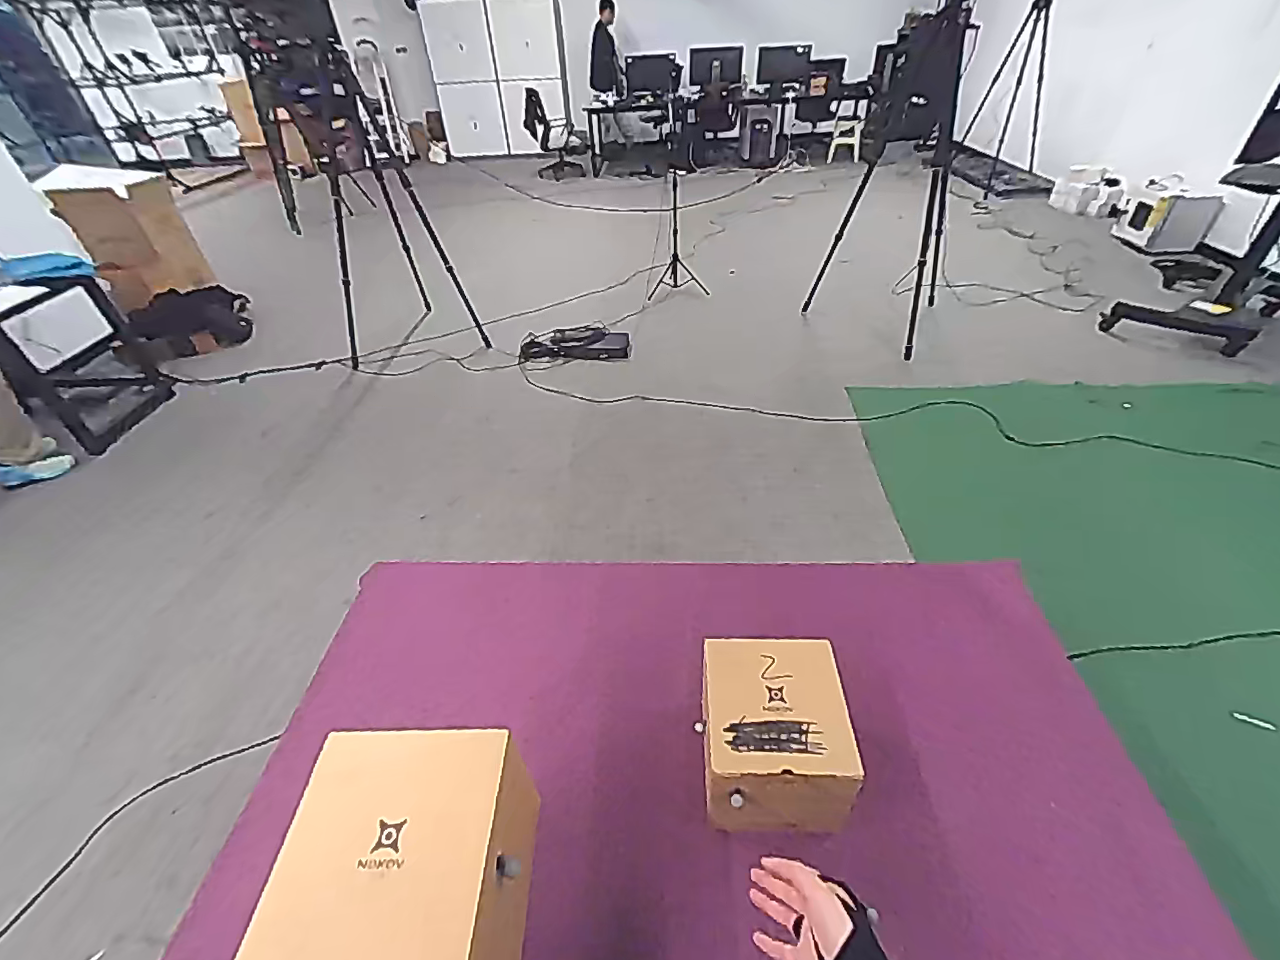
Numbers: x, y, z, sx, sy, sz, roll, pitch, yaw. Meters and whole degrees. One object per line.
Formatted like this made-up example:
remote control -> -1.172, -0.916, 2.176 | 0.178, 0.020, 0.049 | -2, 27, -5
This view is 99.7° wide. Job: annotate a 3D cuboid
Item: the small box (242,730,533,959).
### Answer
small box -> -0.199, 0.350, 0.491 | 0.168, 0.176, 0.179 | -1, 43, 1
